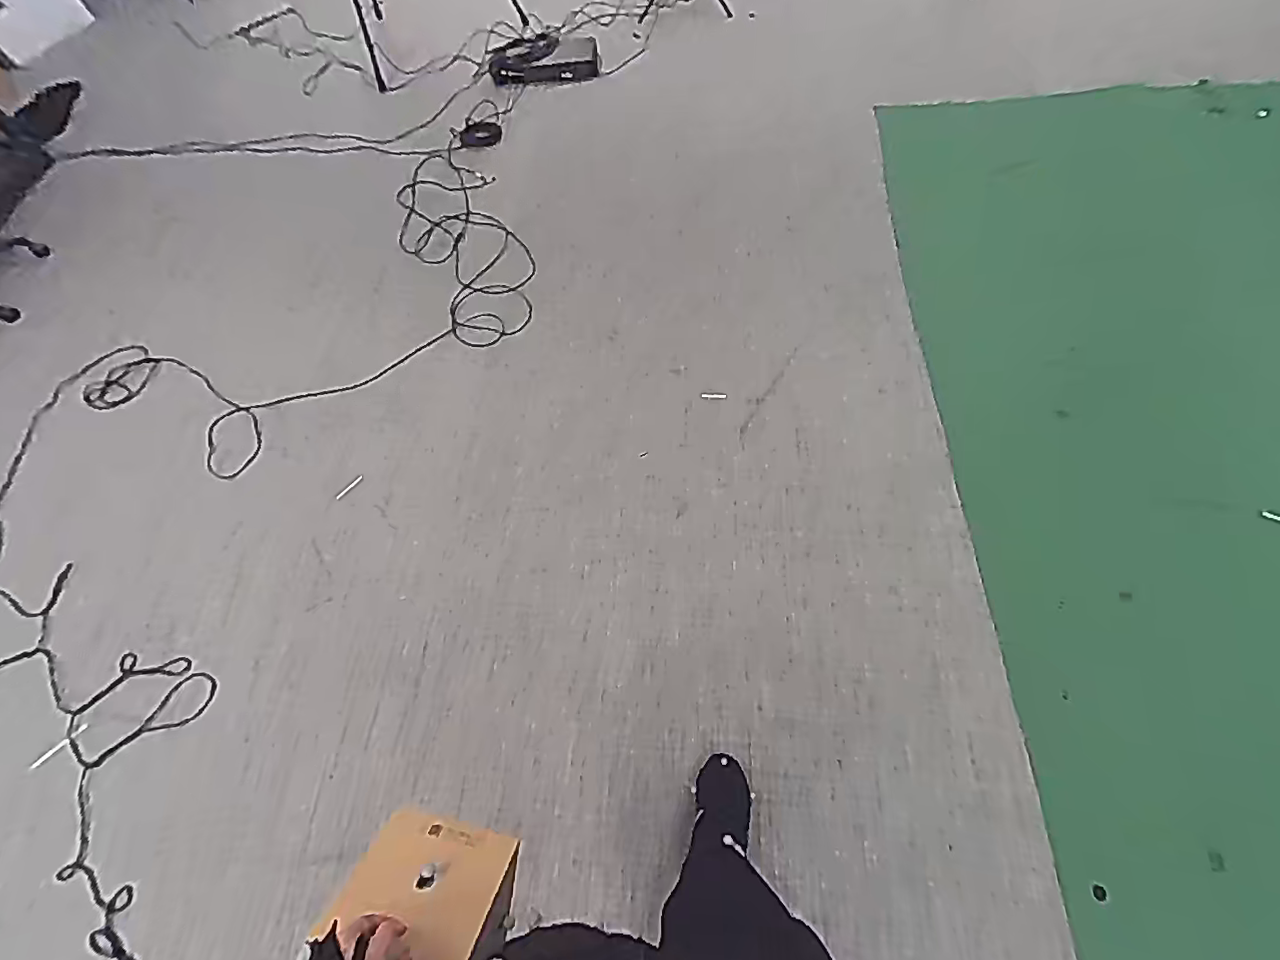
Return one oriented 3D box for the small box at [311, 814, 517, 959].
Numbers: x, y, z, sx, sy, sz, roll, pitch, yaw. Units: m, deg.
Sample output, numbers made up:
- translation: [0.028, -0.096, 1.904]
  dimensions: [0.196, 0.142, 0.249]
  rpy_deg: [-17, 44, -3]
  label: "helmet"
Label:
- translation: [-0.253, 0.537, 0.633]
  dimensions: [0.168, 0.176, 0.179]
  rpy_deg: [10, 105, 5]
  label: "small box"
